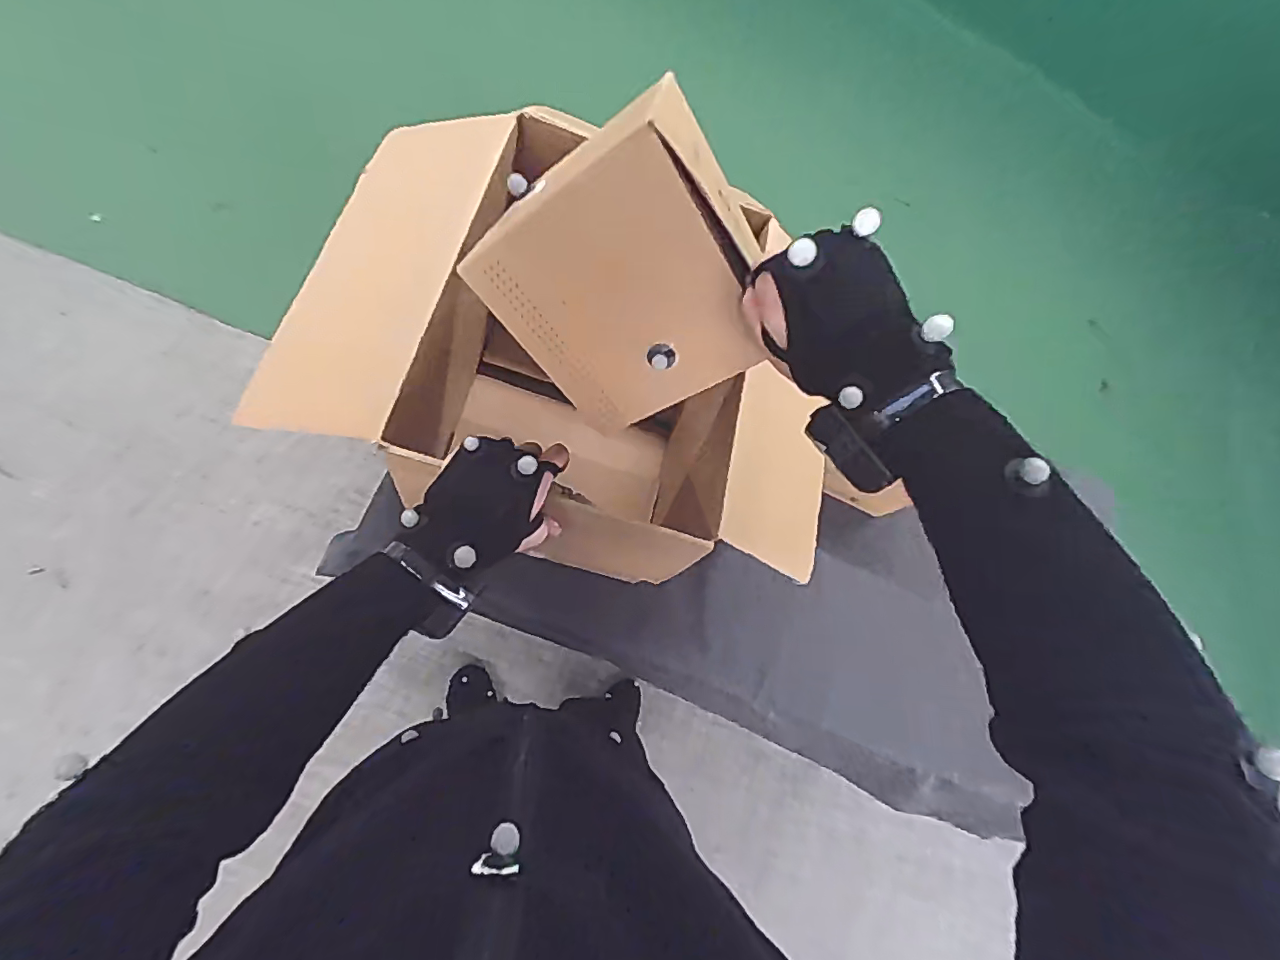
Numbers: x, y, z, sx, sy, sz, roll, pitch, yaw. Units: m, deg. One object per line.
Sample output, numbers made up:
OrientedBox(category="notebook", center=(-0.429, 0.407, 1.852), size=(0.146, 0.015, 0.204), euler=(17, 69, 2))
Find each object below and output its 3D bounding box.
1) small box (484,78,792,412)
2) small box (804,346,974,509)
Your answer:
OrientedBox(category="small box", center=(0.008, -0.178, 0.448), size=(0.179, 0.176, 0.168), euler=(48, 33, -32))
OrientedBox(category="small box", center=(0.388, -0.073, 0.864), size=(0.168, 0.176, 0.179), euler=(26, 69, -7))
